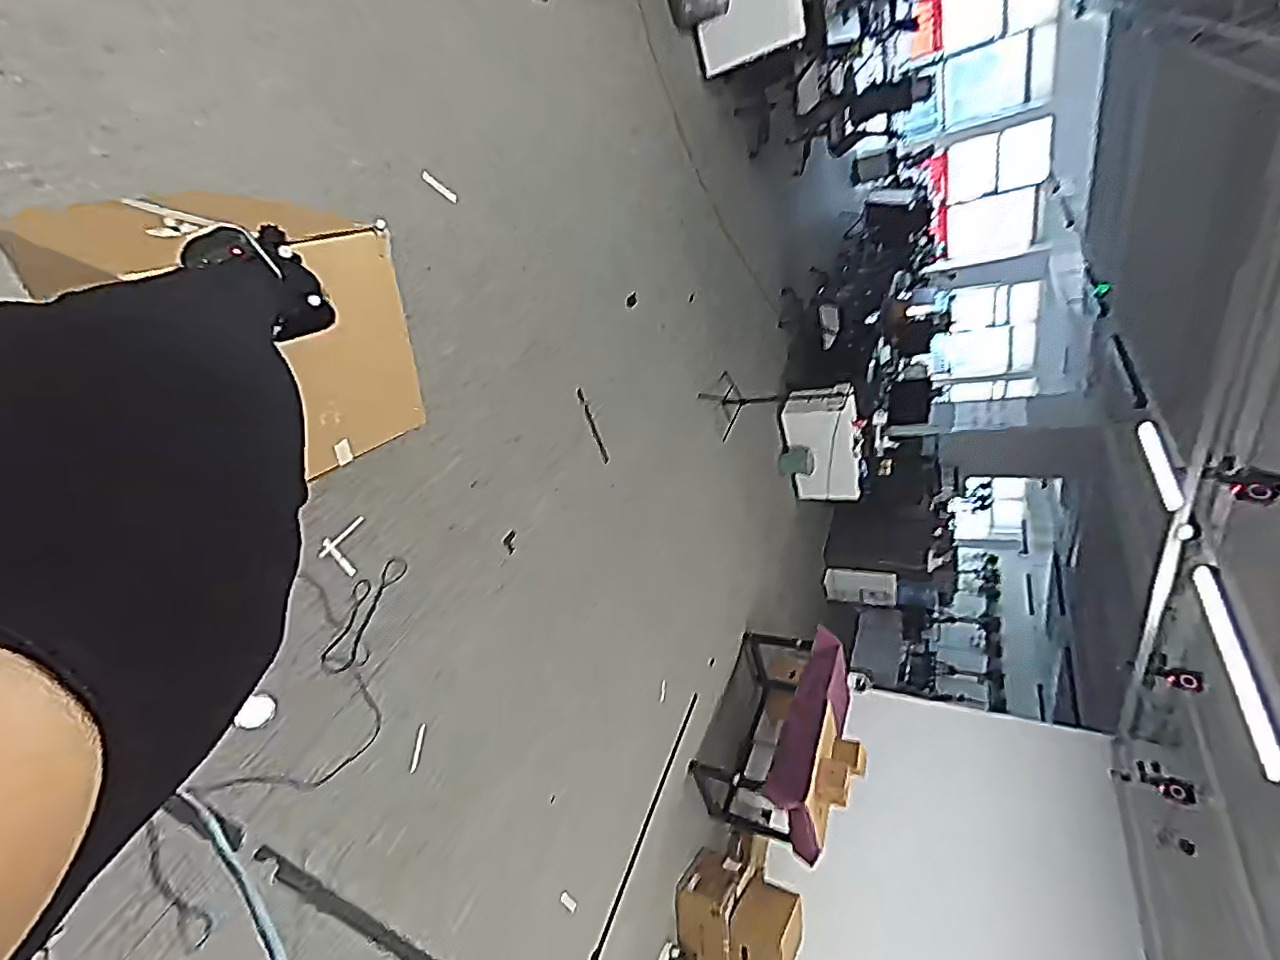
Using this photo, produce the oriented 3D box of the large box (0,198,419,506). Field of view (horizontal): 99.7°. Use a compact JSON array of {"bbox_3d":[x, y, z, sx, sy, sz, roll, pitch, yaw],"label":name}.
[{"bbox_3d":[-0.619,-0.217,0.826,0.320,0.408,0.320,-44,148,-44],"label":"large box"}]
